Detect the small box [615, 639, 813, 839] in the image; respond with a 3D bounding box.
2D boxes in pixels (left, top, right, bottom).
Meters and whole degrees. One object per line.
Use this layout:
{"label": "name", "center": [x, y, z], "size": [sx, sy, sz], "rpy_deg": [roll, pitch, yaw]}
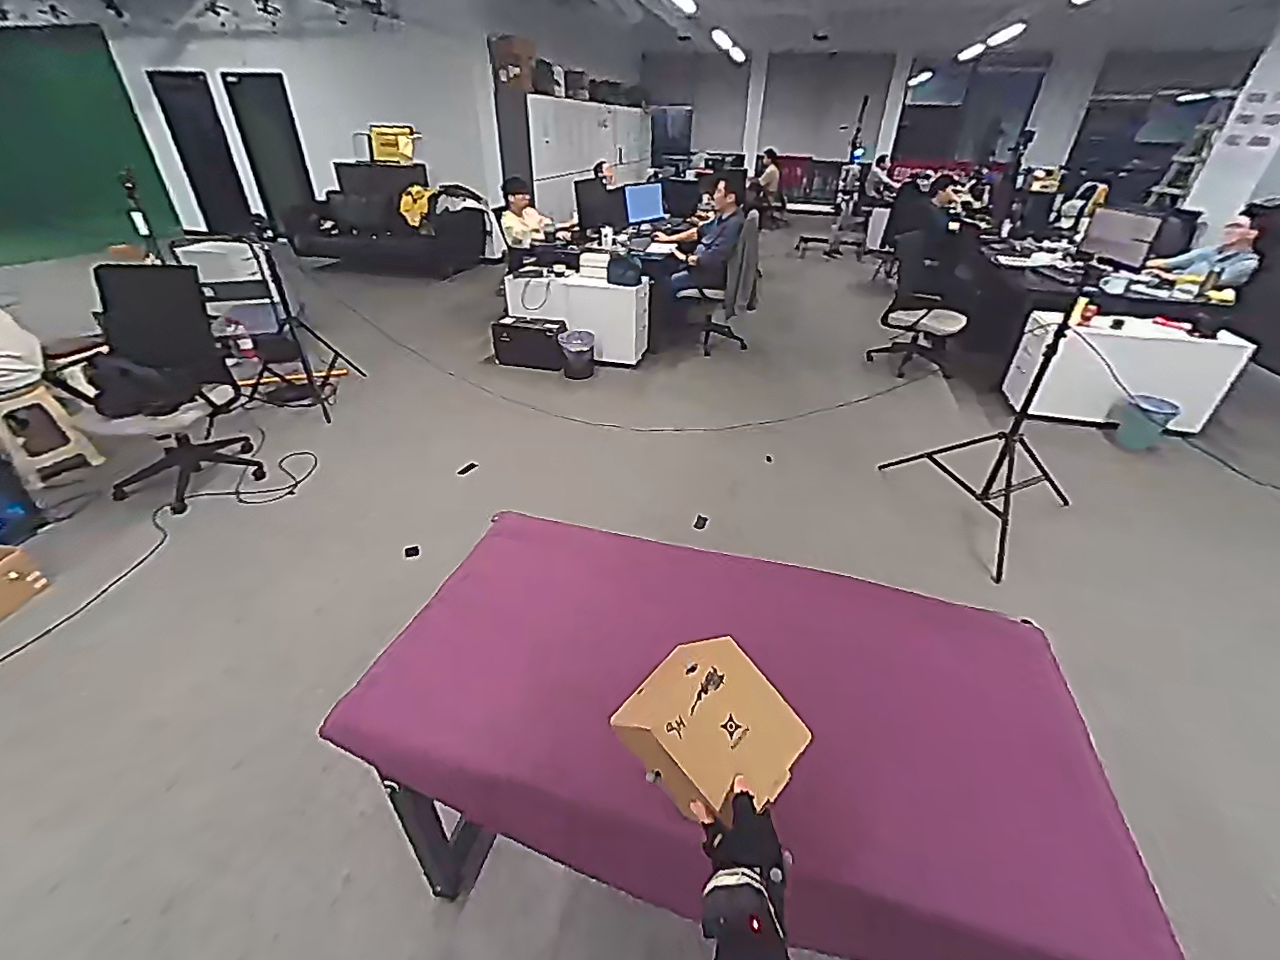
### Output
{"label": "small box", "center": [0.095, 0.346, 0.754], "size": [0.168, 0.176, 0.179], "rpy_deg": [-39, 87, -29]}
